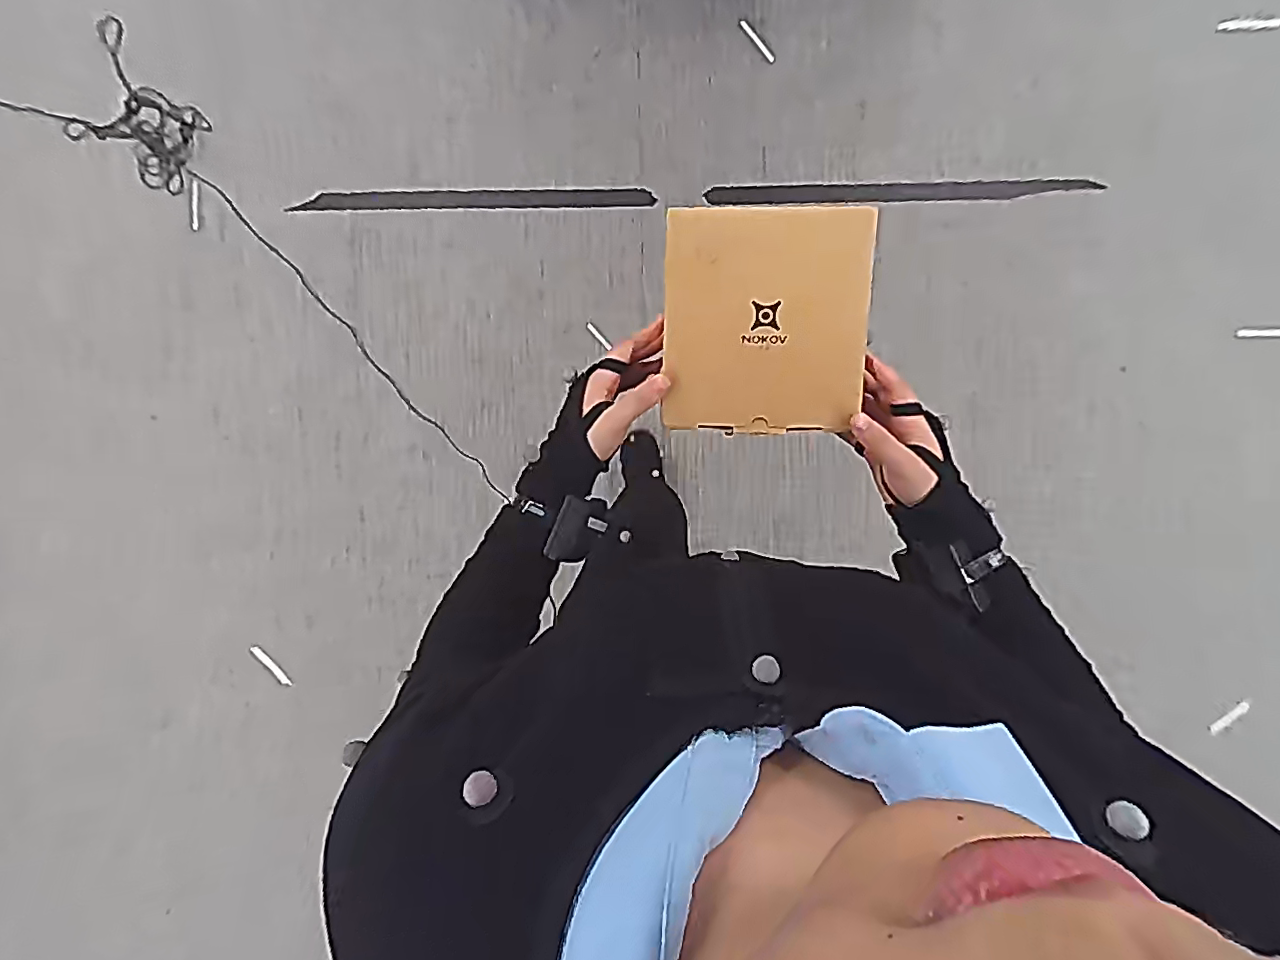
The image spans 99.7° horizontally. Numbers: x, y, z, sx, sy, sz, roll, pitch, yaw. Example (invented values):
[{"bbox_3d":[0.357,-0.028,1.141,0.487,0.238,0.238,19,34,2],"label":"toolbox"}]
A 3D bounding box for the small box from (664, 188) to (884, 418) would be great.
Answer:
[{"bbox_3d":[0.107,-0.150,0.508,0.168,0.176,0.179,1,100,2],"label":"small box"}]
